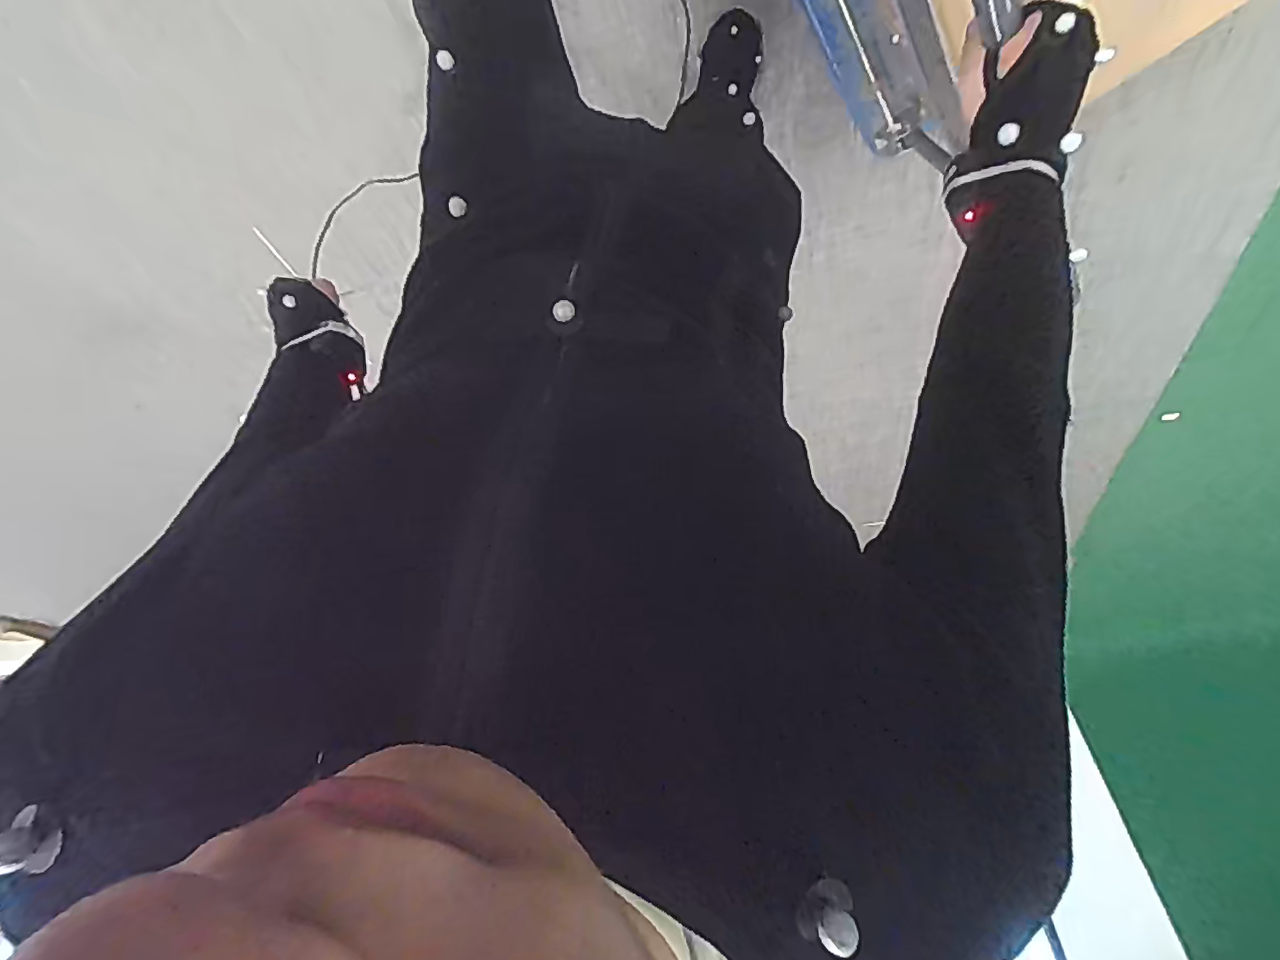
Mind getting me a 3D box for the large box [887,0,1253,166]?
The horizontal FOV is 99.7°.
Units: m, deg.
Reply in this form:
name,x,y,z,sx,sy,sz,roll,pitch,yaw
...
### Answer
name,x,y,z,sx,sy,sz,roll,pitch,yaw
large box,0.613,-0.764,0.770,0.408,0.320,0.320,-29,132,30
